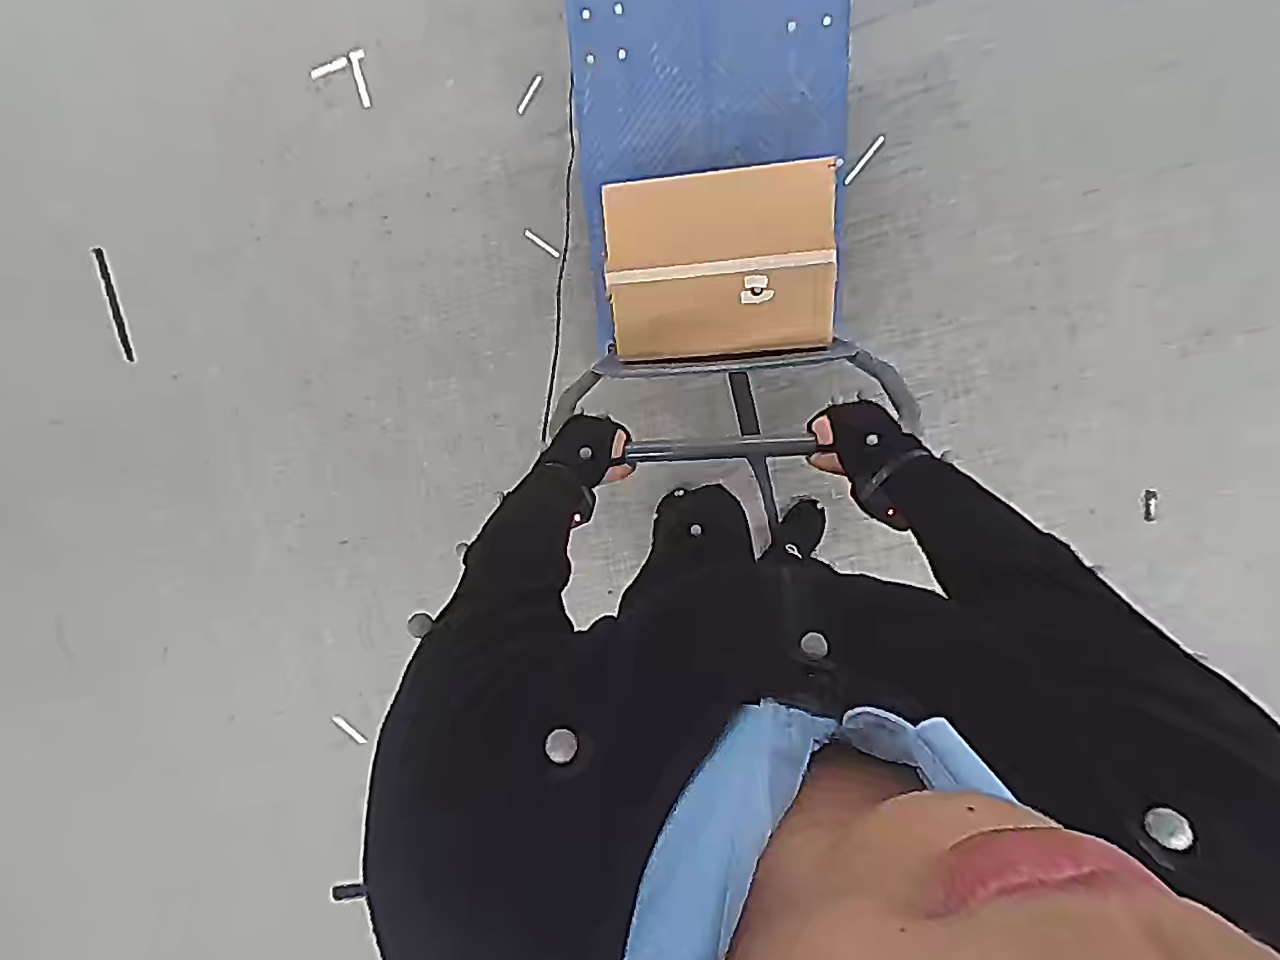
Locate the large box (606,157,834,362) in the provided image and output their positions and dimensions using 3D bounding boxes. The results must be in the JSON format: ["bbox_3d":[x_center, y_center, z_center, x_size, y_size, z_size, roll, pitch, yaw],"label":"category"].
[{"bbox_3d":[0.164,-0.436,1.135,0.408,0.320,0.320,-4,107,8],"label":"large box"}]
